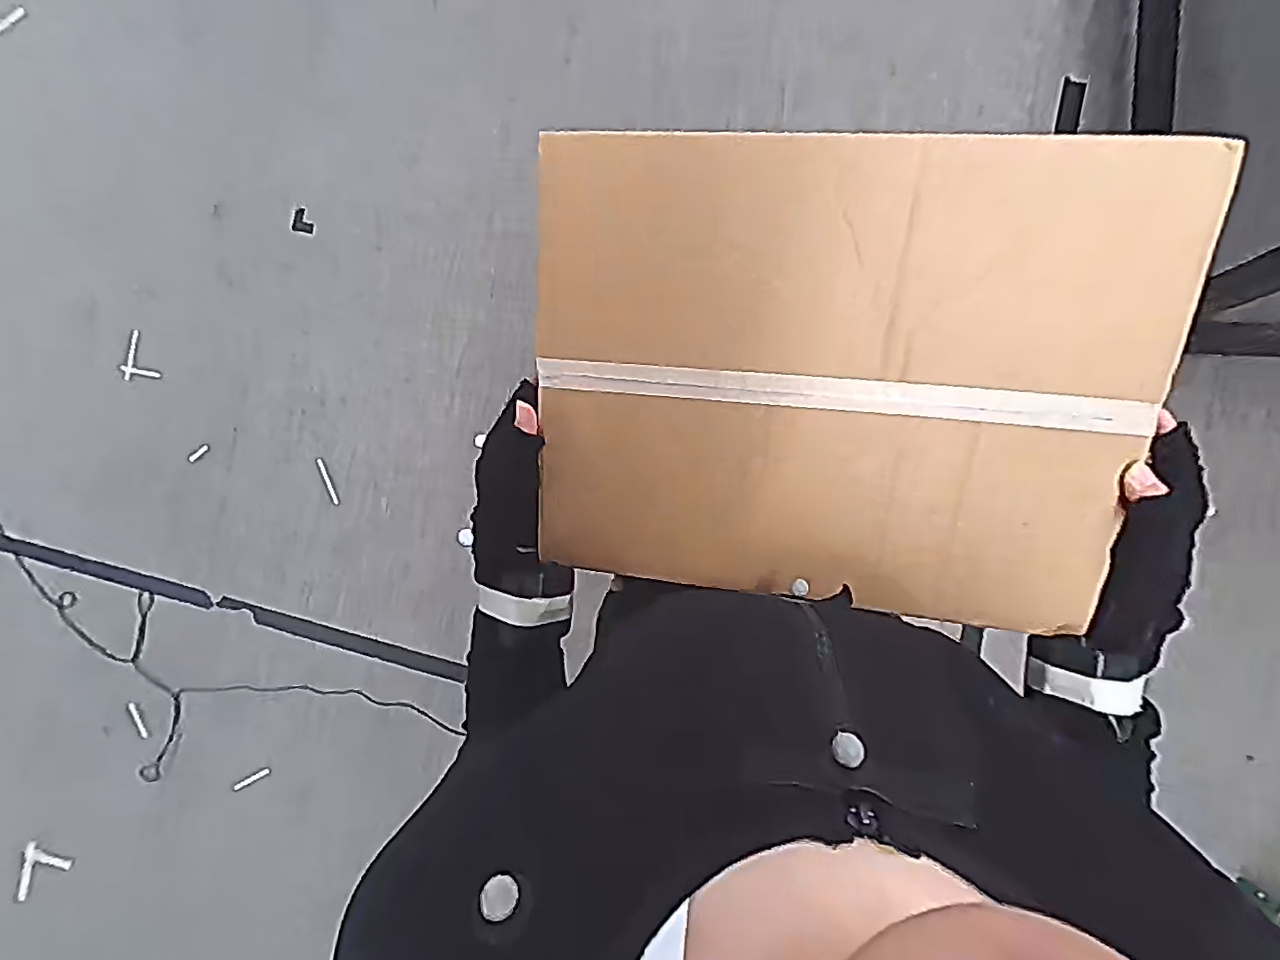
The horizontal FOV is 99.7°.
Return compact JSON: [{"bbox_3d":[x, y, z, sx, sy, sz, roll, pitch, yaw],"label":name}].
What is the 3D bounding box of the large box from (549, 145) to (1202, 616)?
[{"bbox_3d":[0.150,-0.103,0.526,0.408,0.320,0.320,7,108,9],"label":"large box"}]
